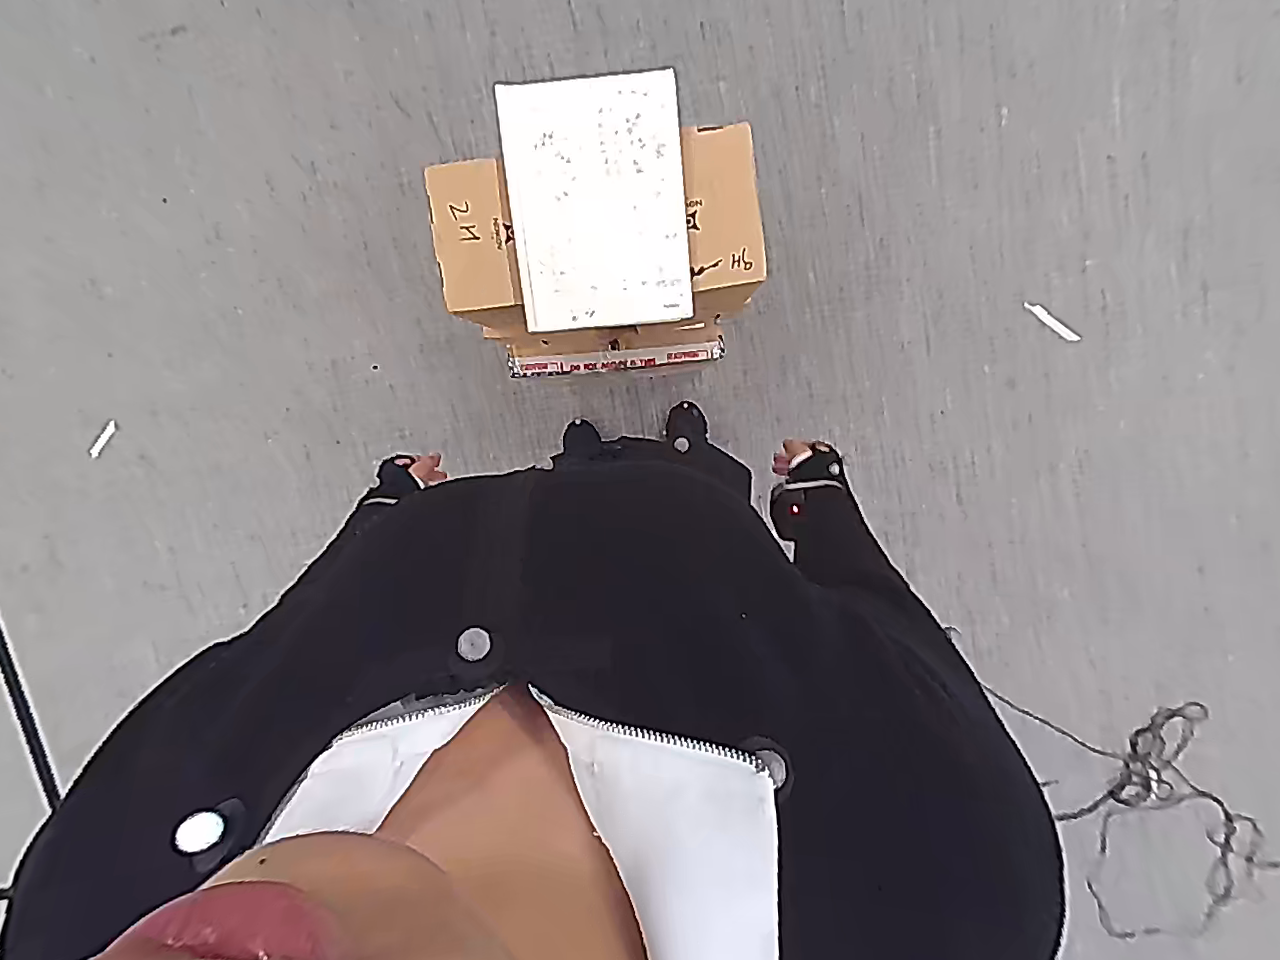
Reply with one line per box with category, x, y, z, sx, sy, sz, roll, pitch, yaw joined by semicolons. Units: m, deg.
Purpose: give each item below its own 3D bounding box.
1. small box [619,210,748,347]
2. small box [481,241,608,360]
small box;0.067;-0.318;0.885;0.179;0.176;0.168;-10;99;3
small box;-0.146;-0.289;0.897;0.179;0.176;0.168;-1;100;4
